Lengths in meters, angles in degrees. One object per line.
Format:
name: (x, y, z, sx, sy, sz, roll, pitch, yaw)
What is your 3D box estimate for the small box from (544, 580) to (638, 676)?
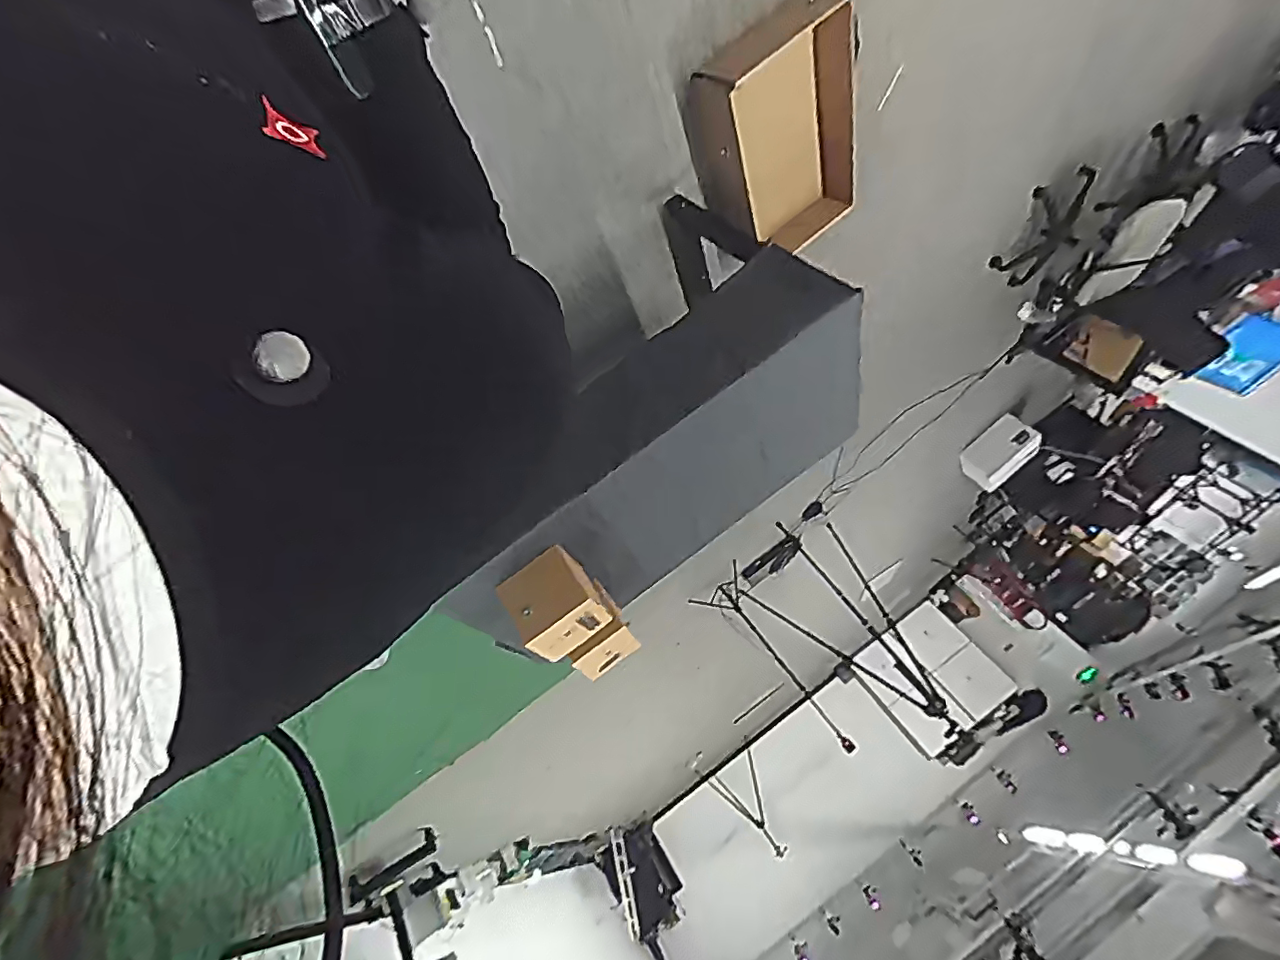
small box: (-0.133, 0.400, 1.472, 0.168, 0.176, 0.179, -35, 145, -7)
